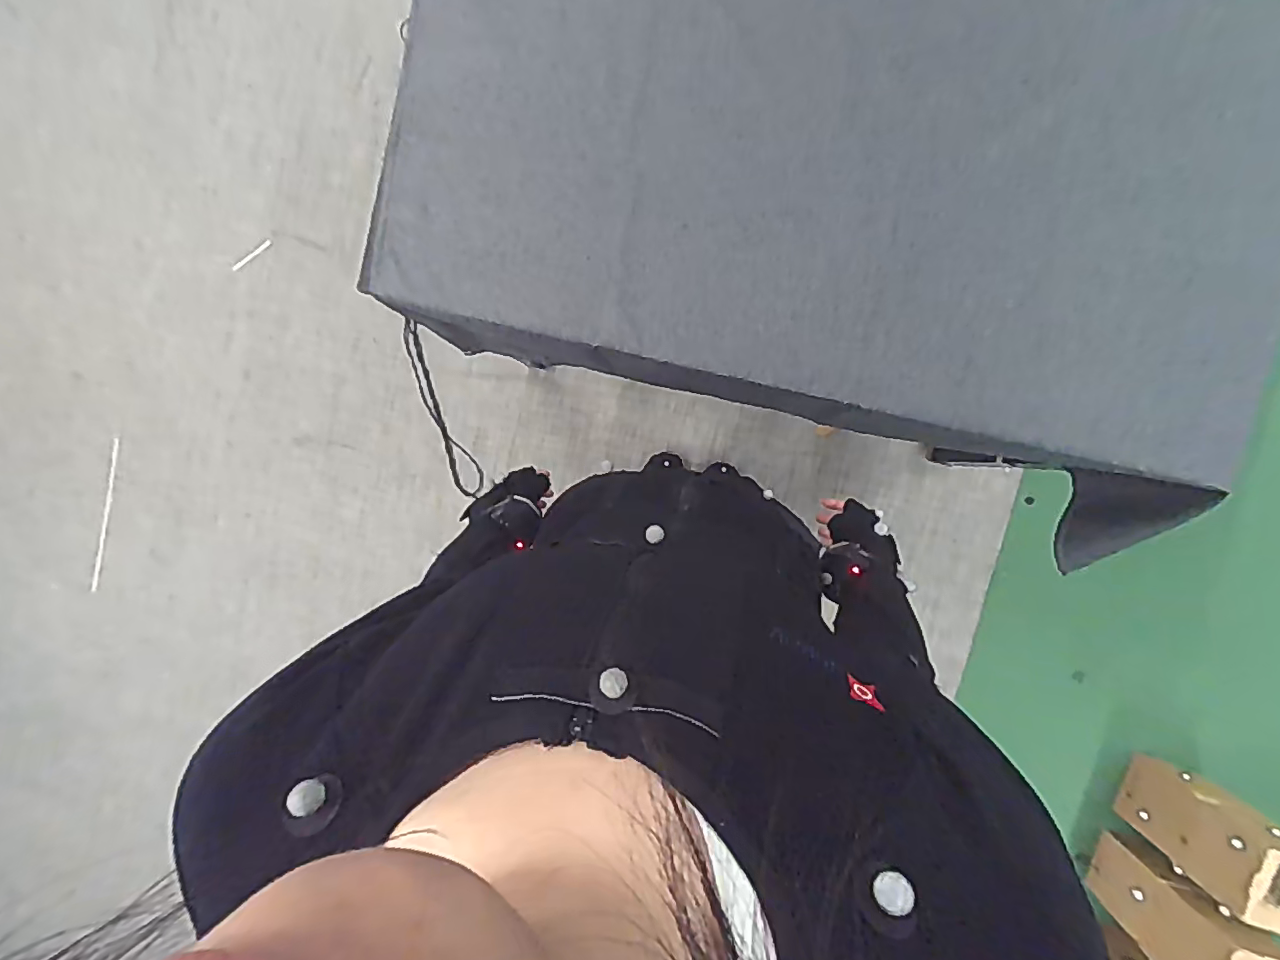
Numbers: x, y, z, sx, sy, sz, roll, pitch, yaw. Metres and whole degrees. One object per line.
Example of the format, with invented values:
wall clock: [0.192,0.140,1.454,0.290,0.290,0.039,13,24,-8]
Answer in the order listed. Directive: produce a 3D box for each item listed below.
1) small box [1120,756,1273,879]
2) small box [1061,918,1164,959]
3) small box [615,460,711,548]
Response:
small box: [1.346,0.812,1.324,0.179,0.176,0.168,19,94,4]
small box: [1.221,1.260,1.358,0.179,0.176,0.168,14,94,5]
small box: [0.056,0.061,1.431,0.168,0.176,0.179,-42,72,17]
